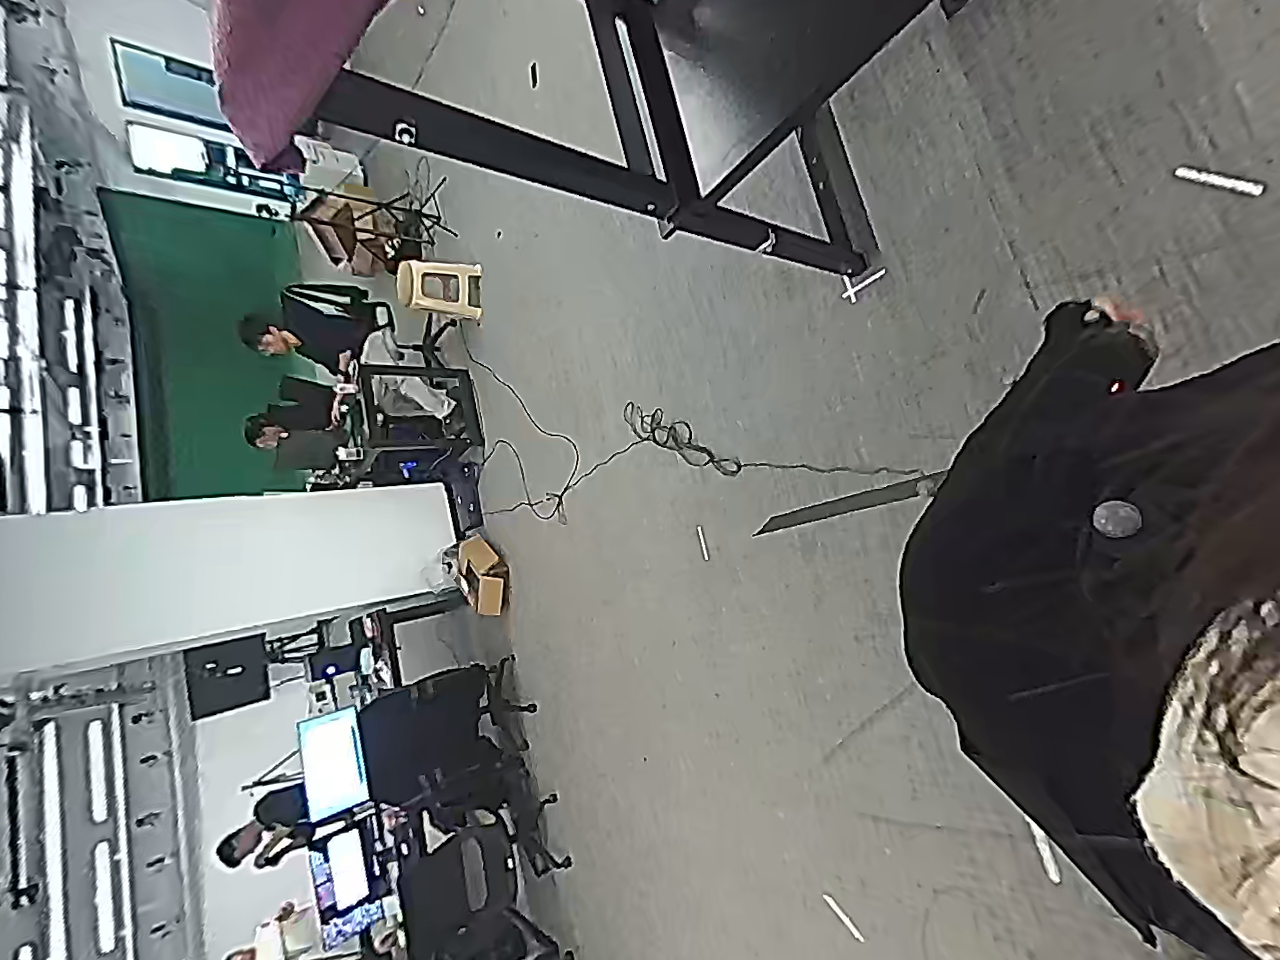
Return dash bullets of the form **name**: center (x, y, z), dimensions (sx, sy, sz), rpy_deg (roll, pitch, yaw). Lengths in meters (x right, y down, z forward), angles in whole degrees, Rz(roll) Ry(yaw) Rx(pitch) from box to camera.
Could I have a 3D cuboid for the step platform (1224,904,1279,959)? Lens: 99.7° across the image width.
- **step platform**: center (1.302, 0.911, 0.737), dimensions (0.684, 0.204, 0.286), rpy_deg (-15, 82, 50)
